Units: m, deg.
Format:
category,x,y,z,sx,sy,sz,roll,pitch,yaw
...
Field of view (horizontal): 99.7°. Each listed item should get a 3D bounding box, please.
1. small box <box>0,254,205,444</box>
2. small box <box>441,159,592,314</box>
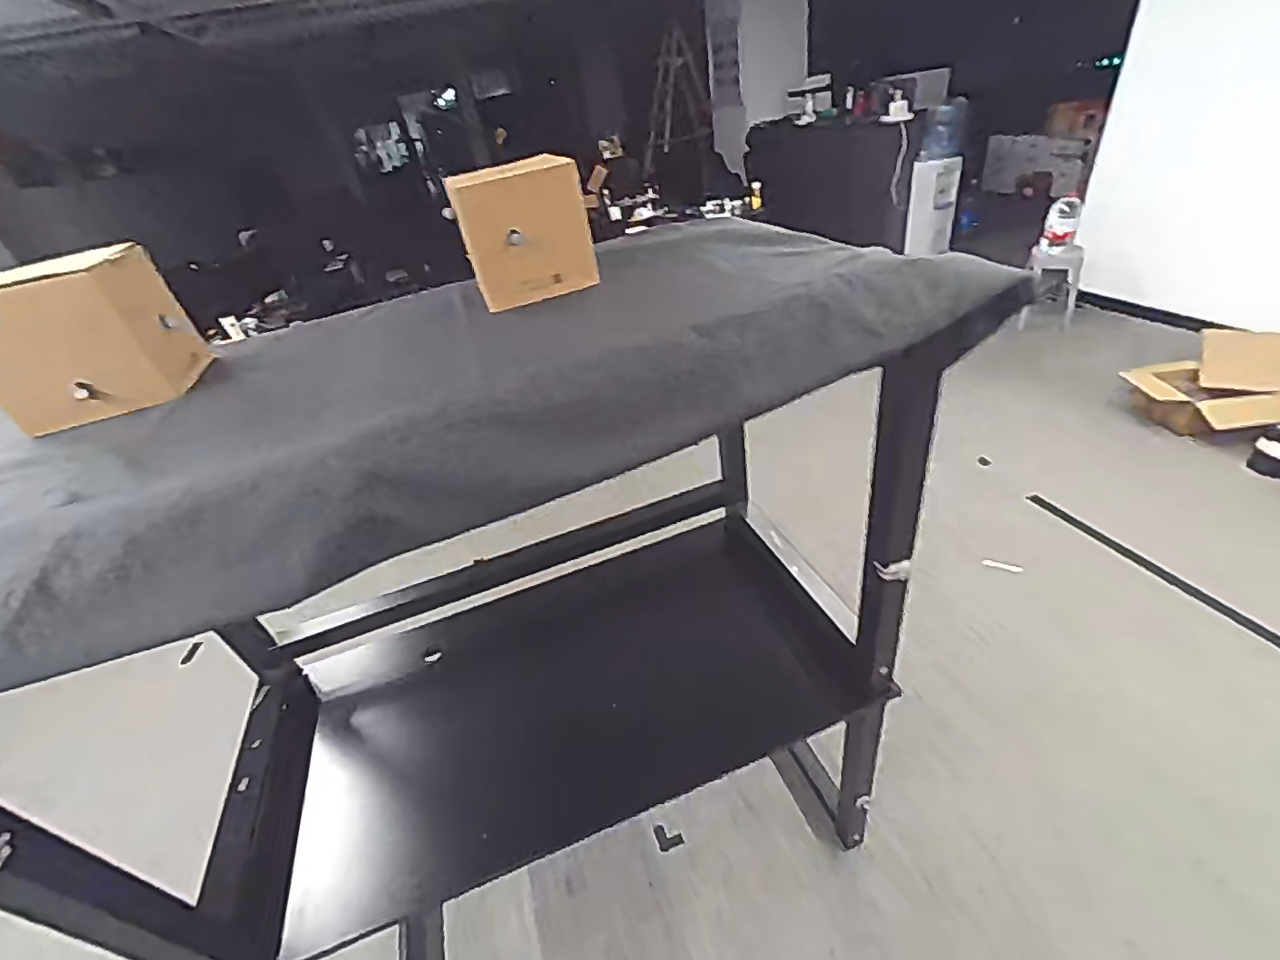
category,x,y,z,sx,sy,sz,roll,pitch,yaw
small box,-0.715,-0.172,0.695,0.179,0.176,0.168,-20,36,-13
small box,-0.183,-0.364,0.812,0.168,0.176,0.179,-20,36,-11
